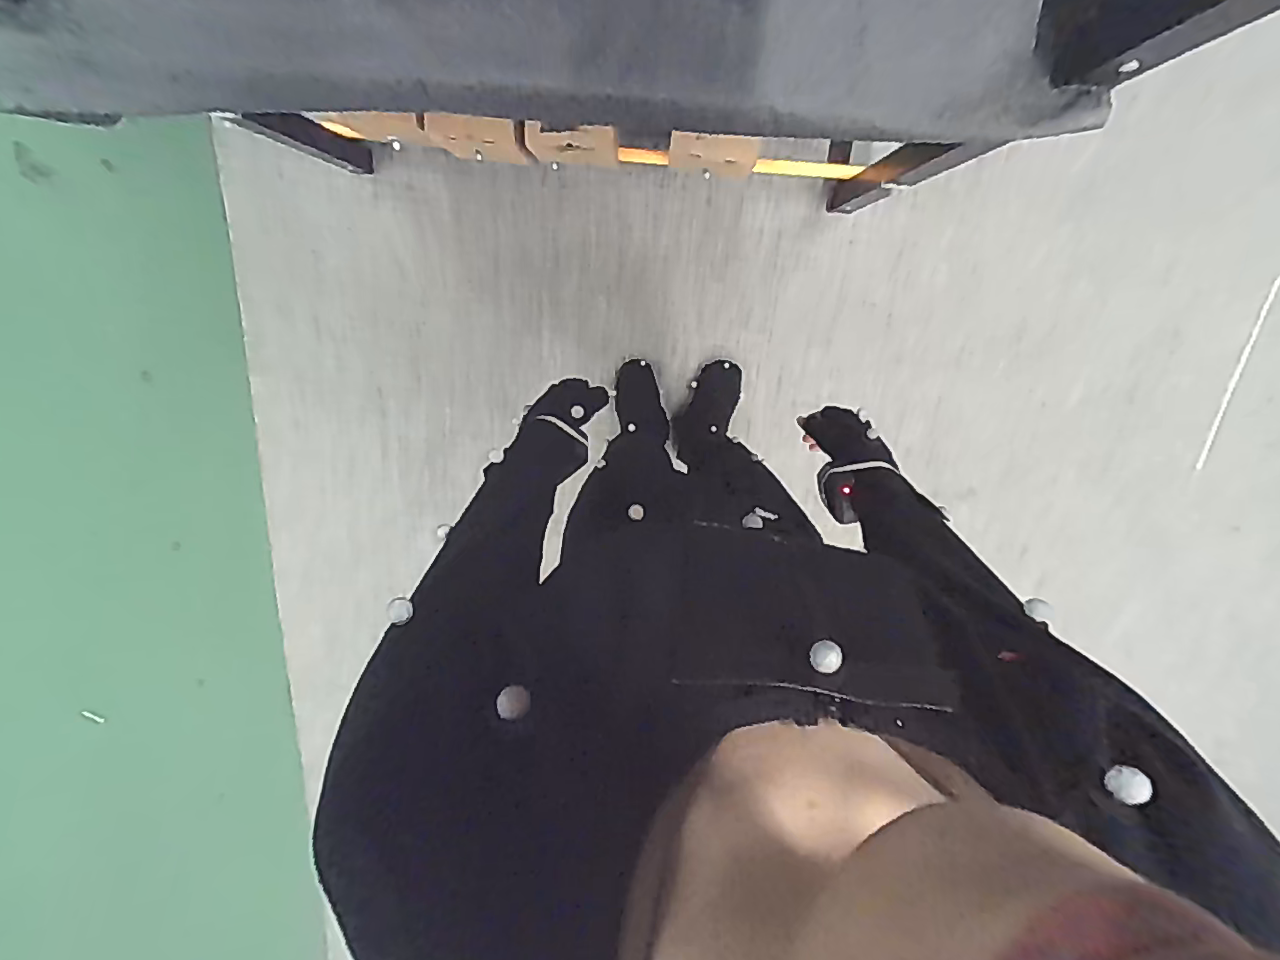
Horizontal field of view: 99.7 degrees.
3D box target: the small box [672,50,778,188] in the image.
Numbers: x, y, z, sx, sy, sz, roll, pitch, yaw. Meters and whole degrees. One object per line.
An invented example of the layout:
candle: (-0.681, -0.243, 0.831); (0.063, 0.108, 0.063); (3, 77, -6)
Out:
small box: (0.156, -0.696, 1.062); (0.168, 0.176, 0.179); (9, 110, 0)
